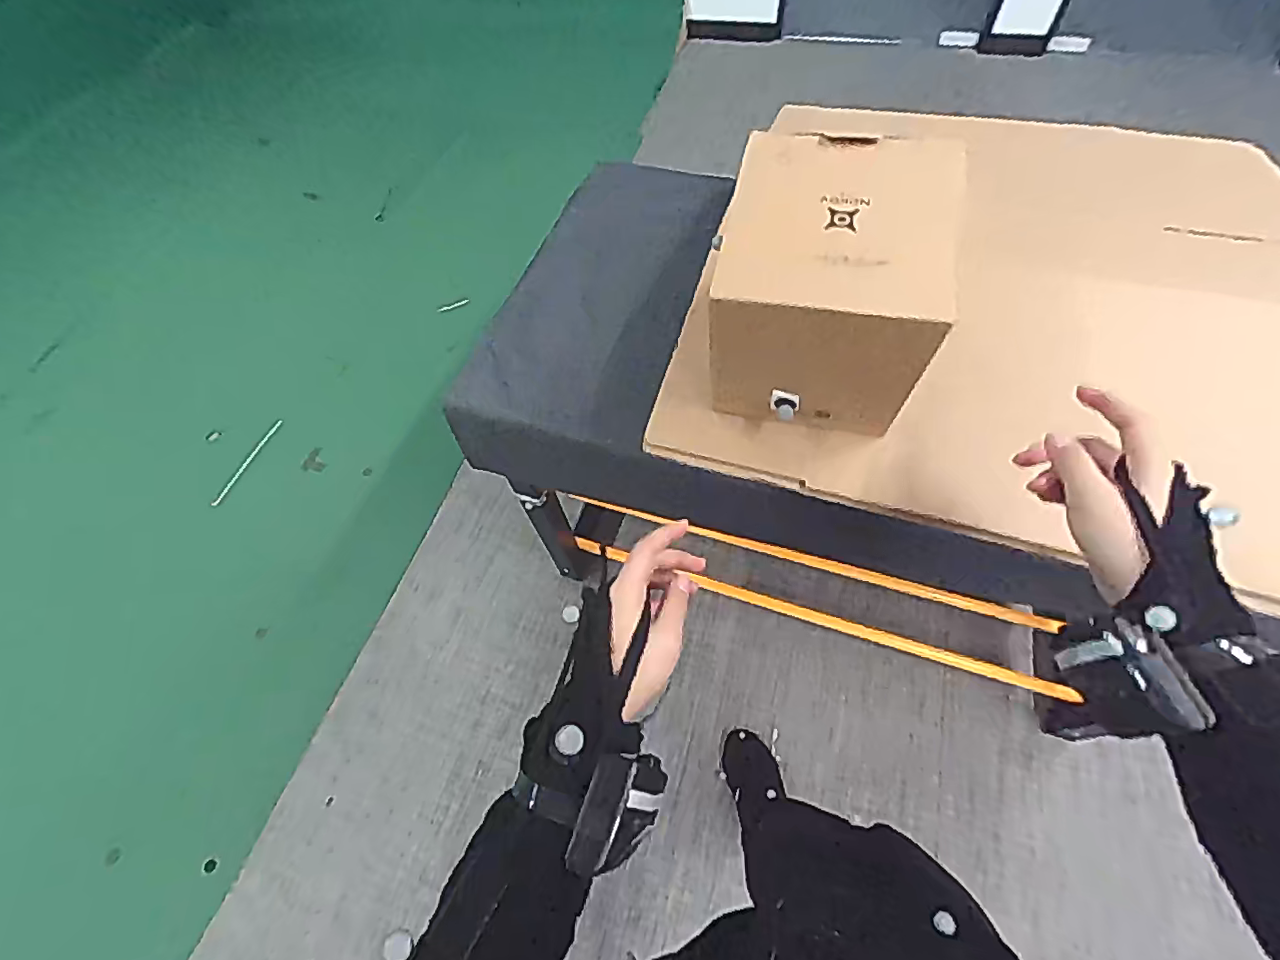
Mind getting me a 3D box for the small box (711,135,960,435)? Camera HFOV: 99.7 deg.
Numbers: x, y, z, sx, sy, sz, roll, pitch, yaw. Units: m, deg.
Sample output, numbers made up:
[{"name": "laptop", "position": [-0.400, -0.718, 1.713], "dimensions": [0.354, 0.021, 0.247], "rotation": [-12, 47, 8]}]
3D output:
[{"name": "small box", "position": [0.158, -0.163, 0.476], "dimensions": [0.168, 0.176, 0.179], "rotation": [9, 70, 13]}]
